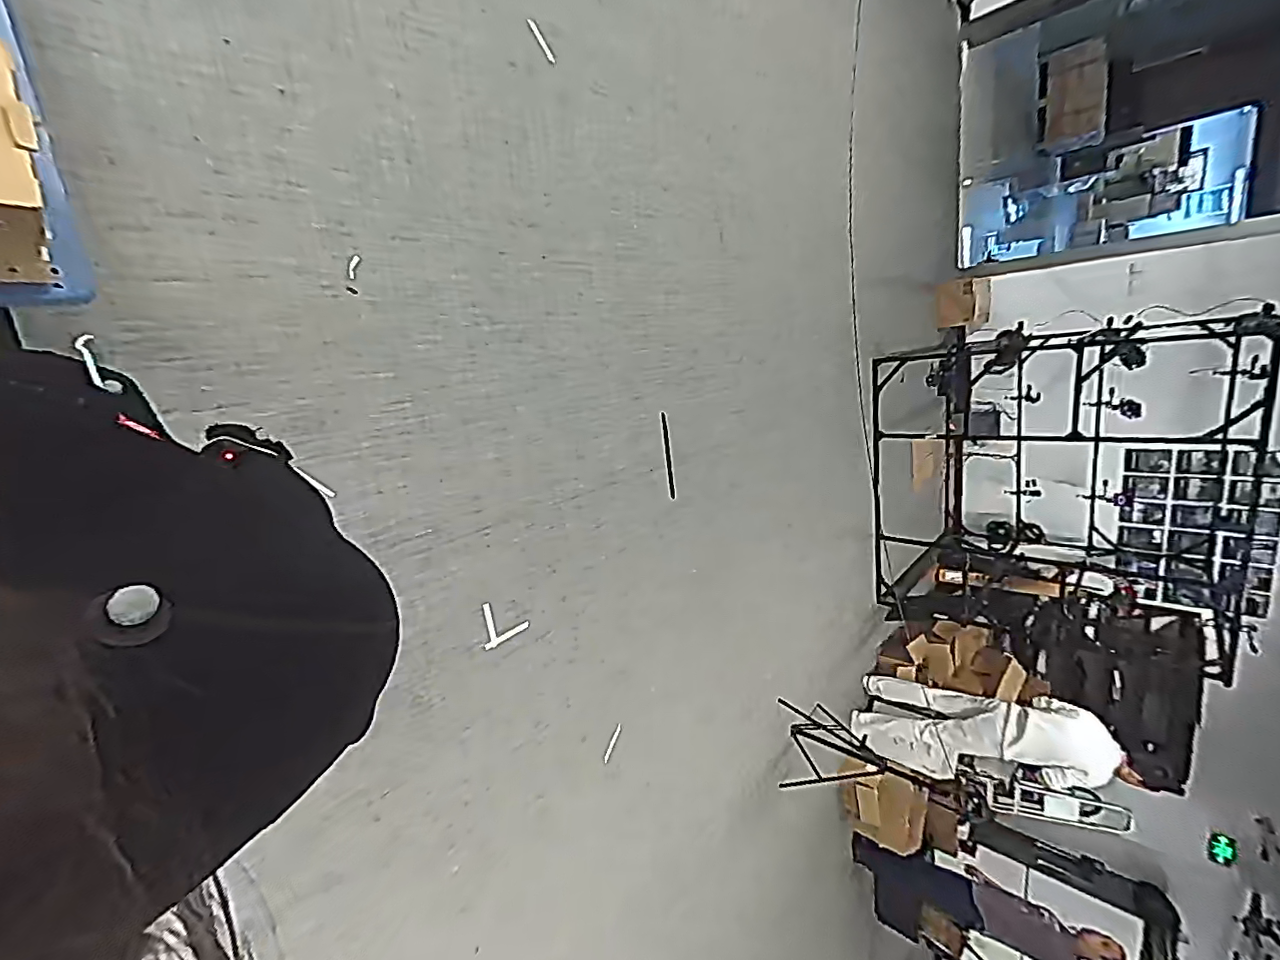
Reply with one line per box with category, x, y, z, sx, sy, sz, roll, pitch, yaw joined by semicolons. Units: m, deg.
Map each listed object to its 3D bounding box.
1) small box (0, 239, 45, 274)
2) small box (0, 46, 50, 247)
small box;-0.874;-0.365;0.662;0.168;0.176;0.179;-17;106;-45
small box;-0.750;-0.352;0.556;0.179;0.176;0.168;-12;102;-45
